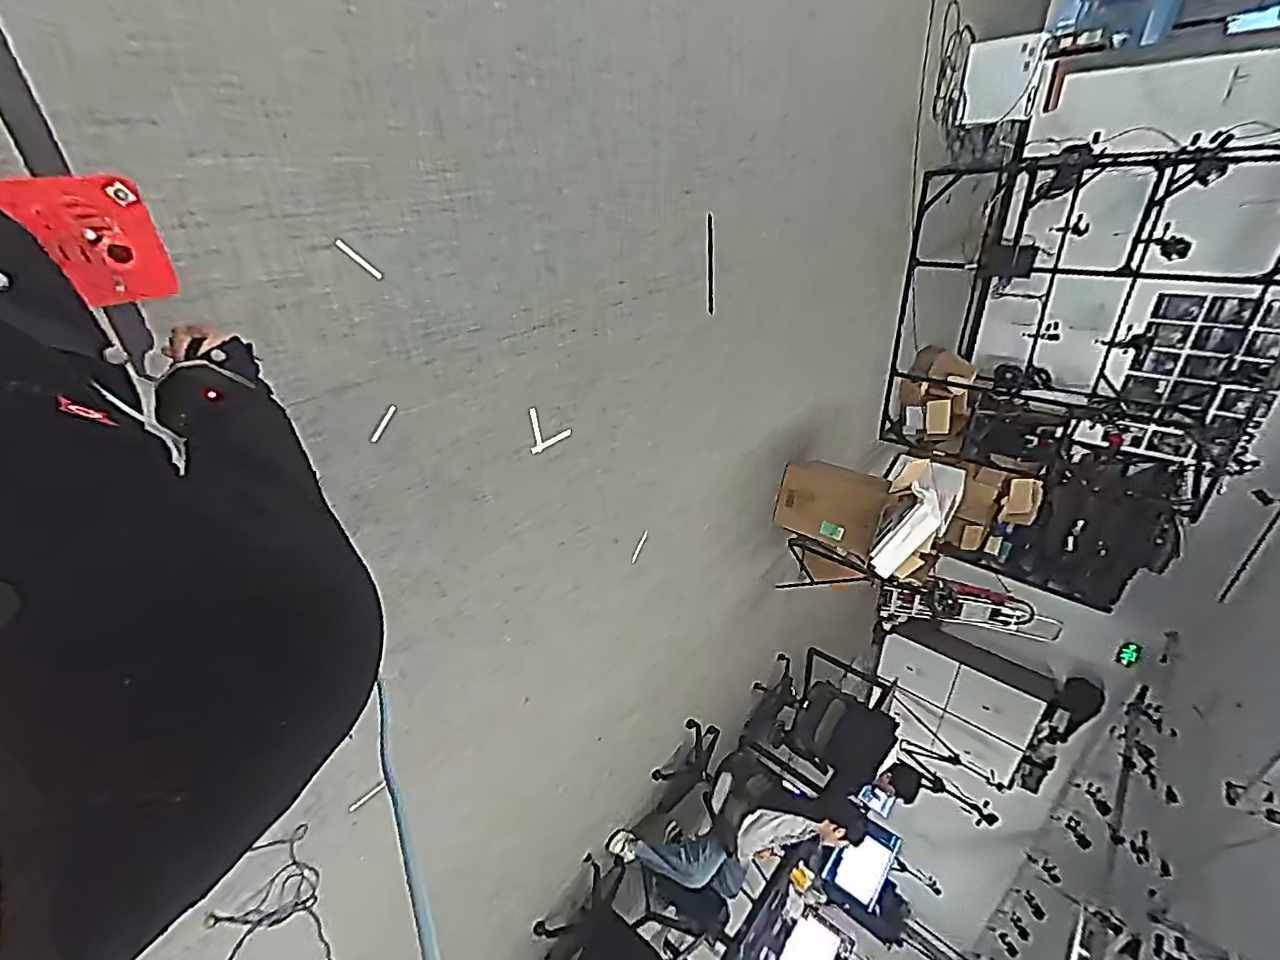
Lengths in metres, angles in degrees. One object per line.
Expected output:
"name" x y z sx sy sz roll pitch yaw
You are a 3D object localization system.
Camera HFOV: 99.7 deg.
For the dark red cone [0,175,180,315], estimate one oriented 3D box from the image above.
"dark red cone" -0.808 -0.343 0.807 0.201 0.394 0.202 -31 130 -38
